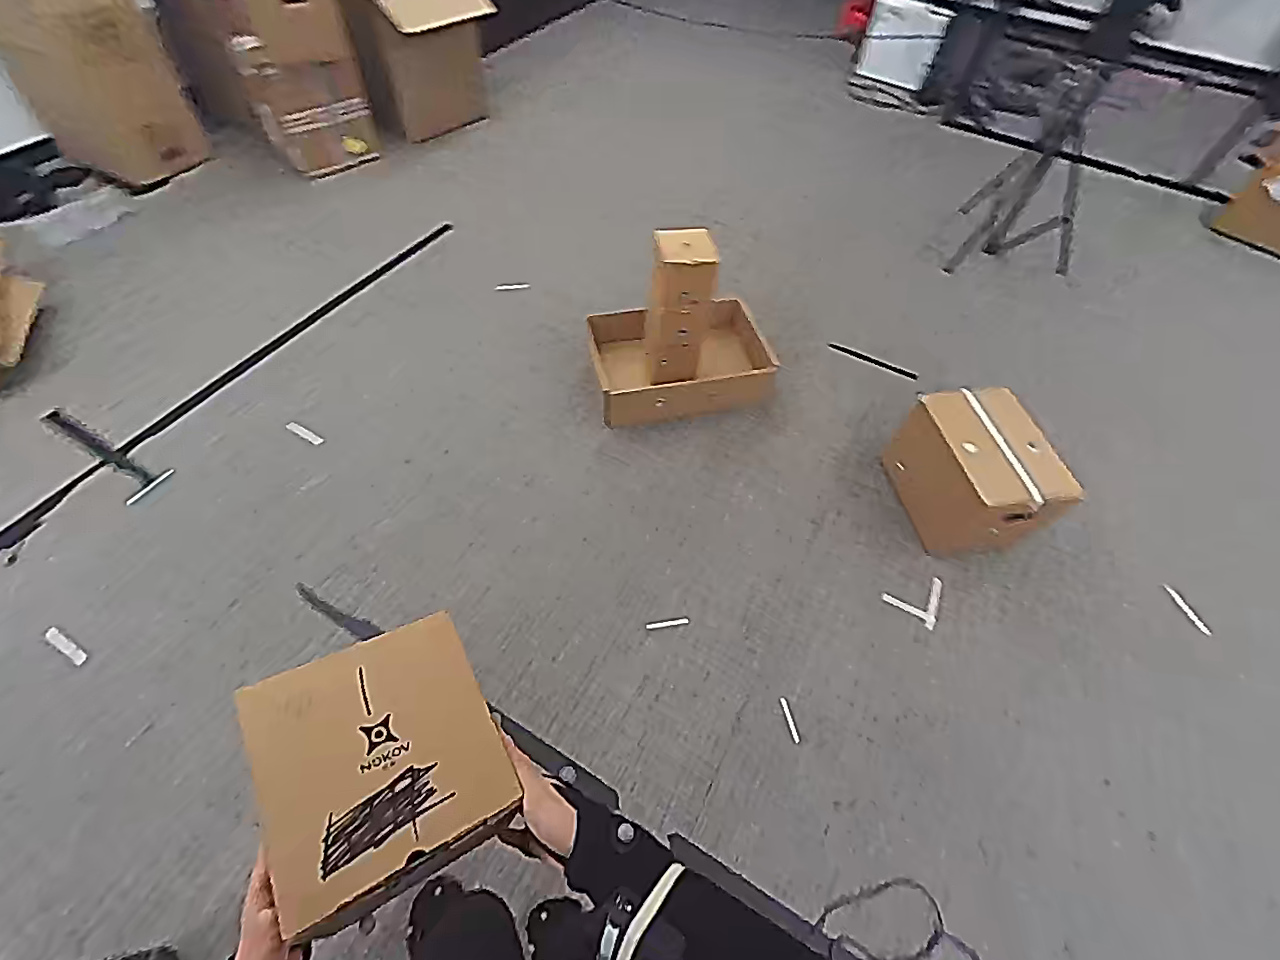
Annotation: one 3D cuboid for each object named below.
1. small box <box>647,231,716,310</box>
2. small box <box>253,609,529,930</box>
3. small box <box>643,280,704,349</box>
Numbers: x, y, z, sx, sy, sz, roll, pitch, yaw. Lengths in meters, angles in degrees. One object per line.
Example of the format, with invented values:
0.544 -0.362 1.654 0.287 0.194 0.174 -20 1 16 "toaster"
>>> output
0.123 -0.658 1.700 0.168 0.176 0.179 -7 56 -10 "small box"
-0.213 0.250 0.480 0.168 0.176 0.179 -16 58 -30 "small box"
0.108 -0.558 1.828 0.168 0.176 0.179 -7 56 -10 "small box"
